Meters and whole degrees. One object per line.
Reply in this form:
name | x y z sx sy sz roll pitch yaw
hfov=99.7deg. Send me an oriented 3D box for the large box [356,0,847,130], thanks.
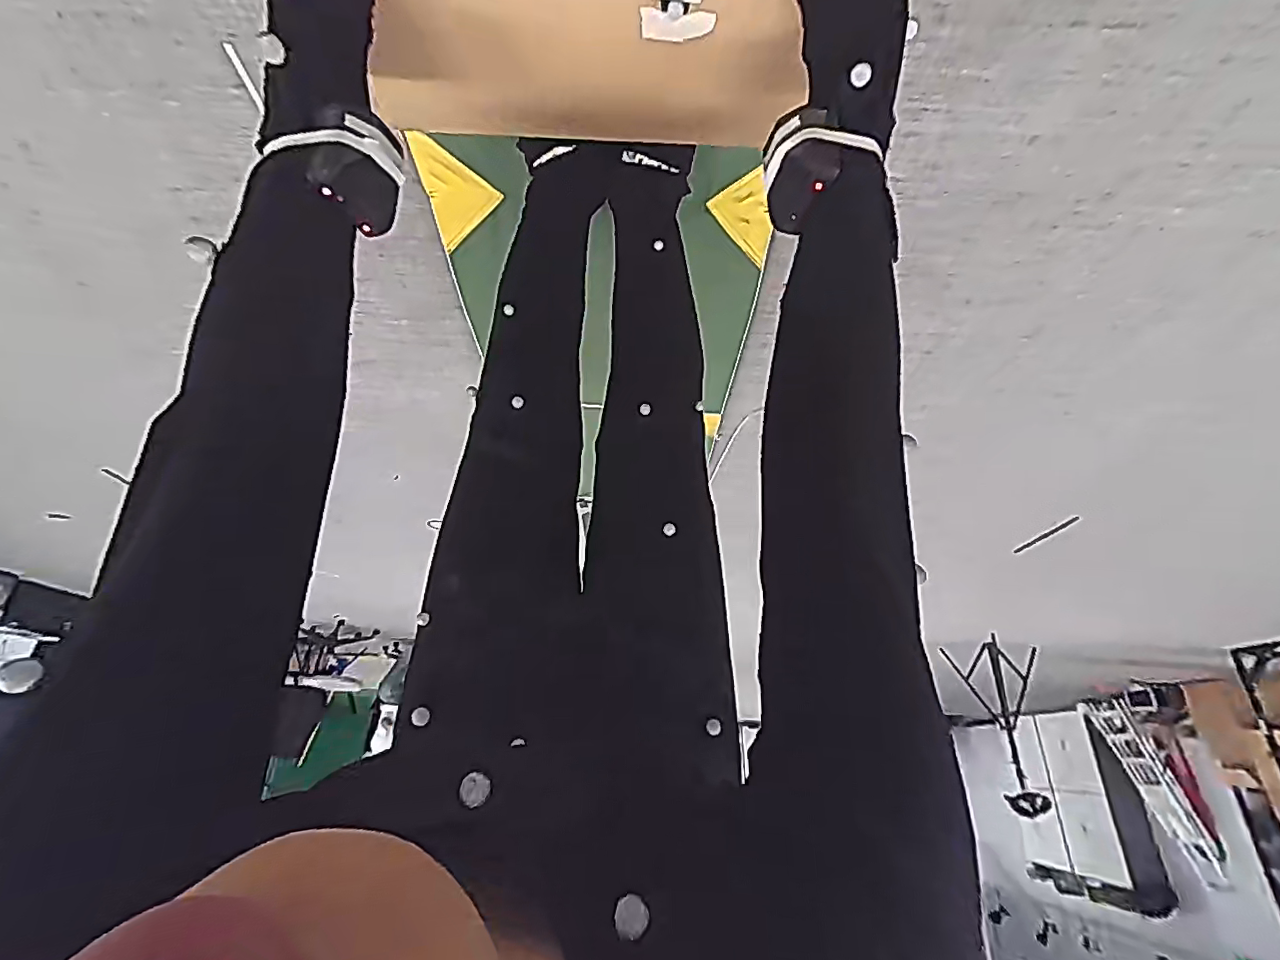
large box | -0.030 -0.542 0.454 0.408 0.320 0.320 2 154 0
